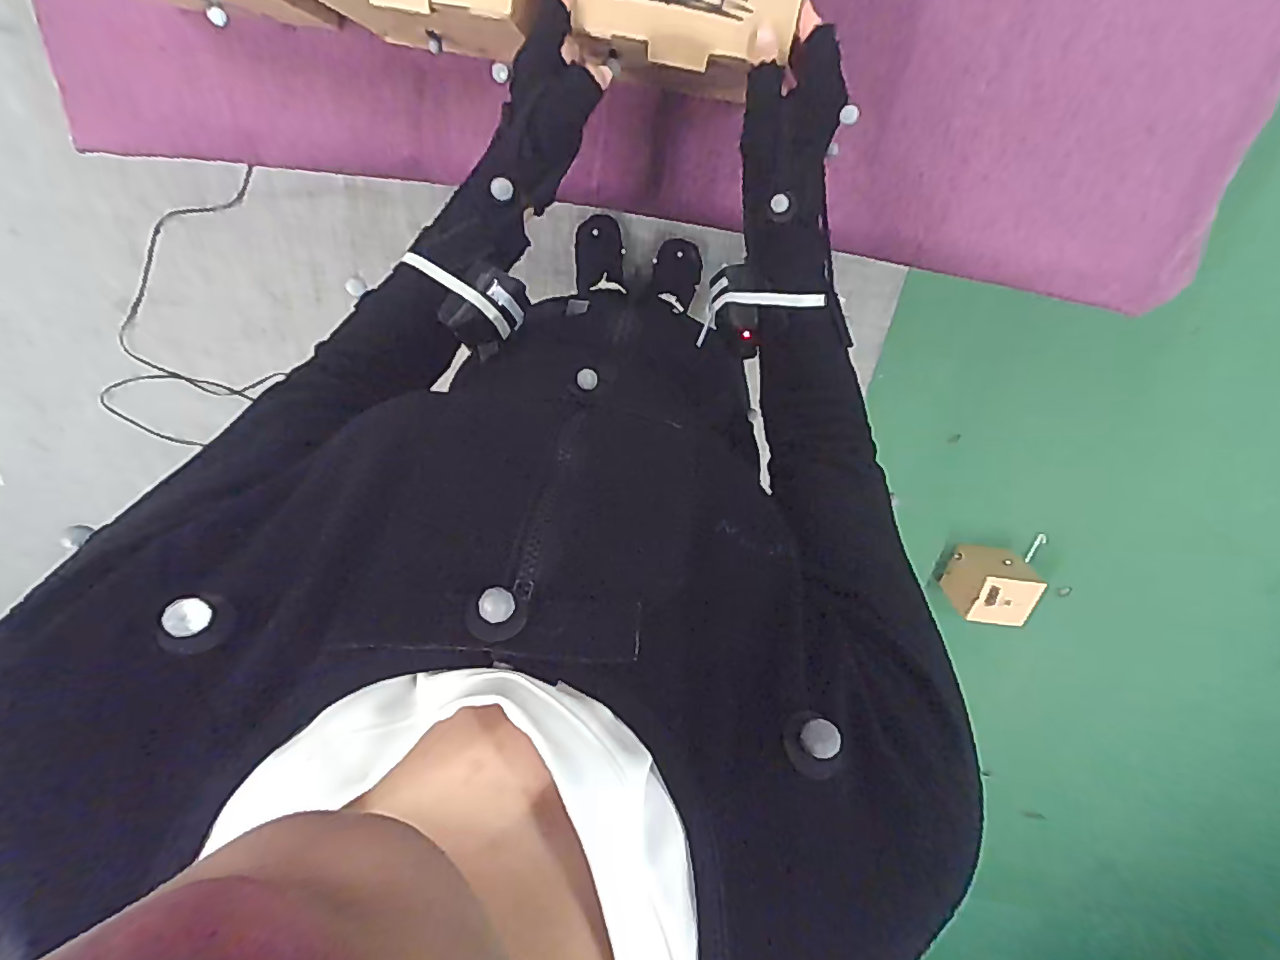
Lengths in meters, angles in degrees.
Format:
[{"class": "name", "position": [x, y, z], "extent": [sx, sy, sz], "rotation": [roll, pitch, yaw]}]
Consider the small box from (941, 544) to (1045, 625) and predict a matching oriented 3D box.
[{"class": "small box", "position": [1.050, 0.309, 1.627], "extent": [0.179, 0.176, 0.168], "rotation": [7, 119, -3]}]

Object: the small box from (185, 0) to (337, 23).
[{"class": "small box", "position": [-0.365, -0.496, 0.417], "extent": [0.168, 0.176, 0.179], "rotation": [7, 118, -2]}]
